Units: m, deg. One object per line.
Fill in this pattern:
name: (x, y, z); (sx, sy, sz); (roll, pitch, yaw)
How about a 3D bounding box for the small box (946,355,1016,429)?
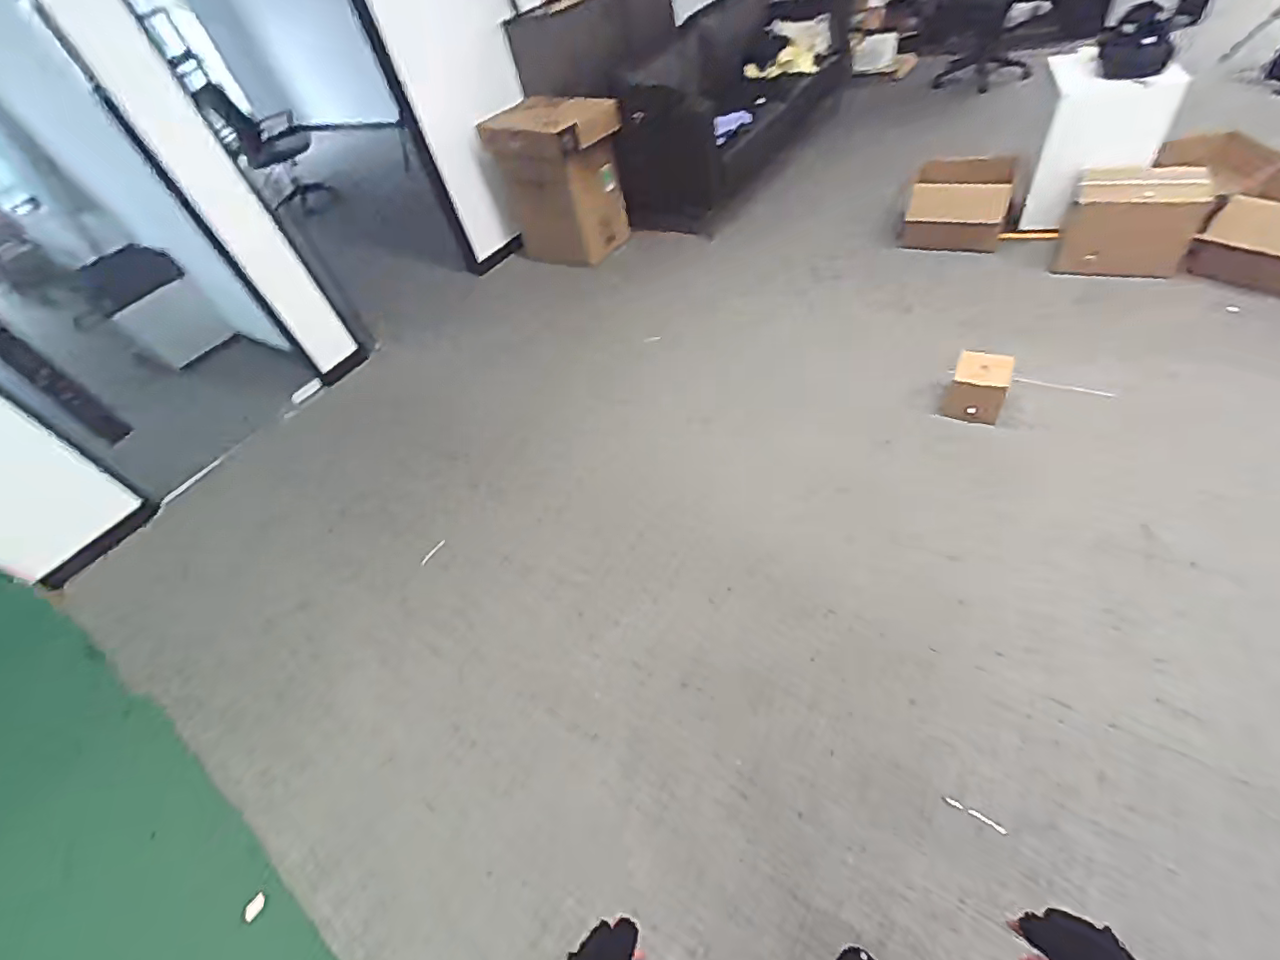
small box: (1.195, -0.310, 1.900); (0.168, 0.176, 0.179); (16, 54, 28)
